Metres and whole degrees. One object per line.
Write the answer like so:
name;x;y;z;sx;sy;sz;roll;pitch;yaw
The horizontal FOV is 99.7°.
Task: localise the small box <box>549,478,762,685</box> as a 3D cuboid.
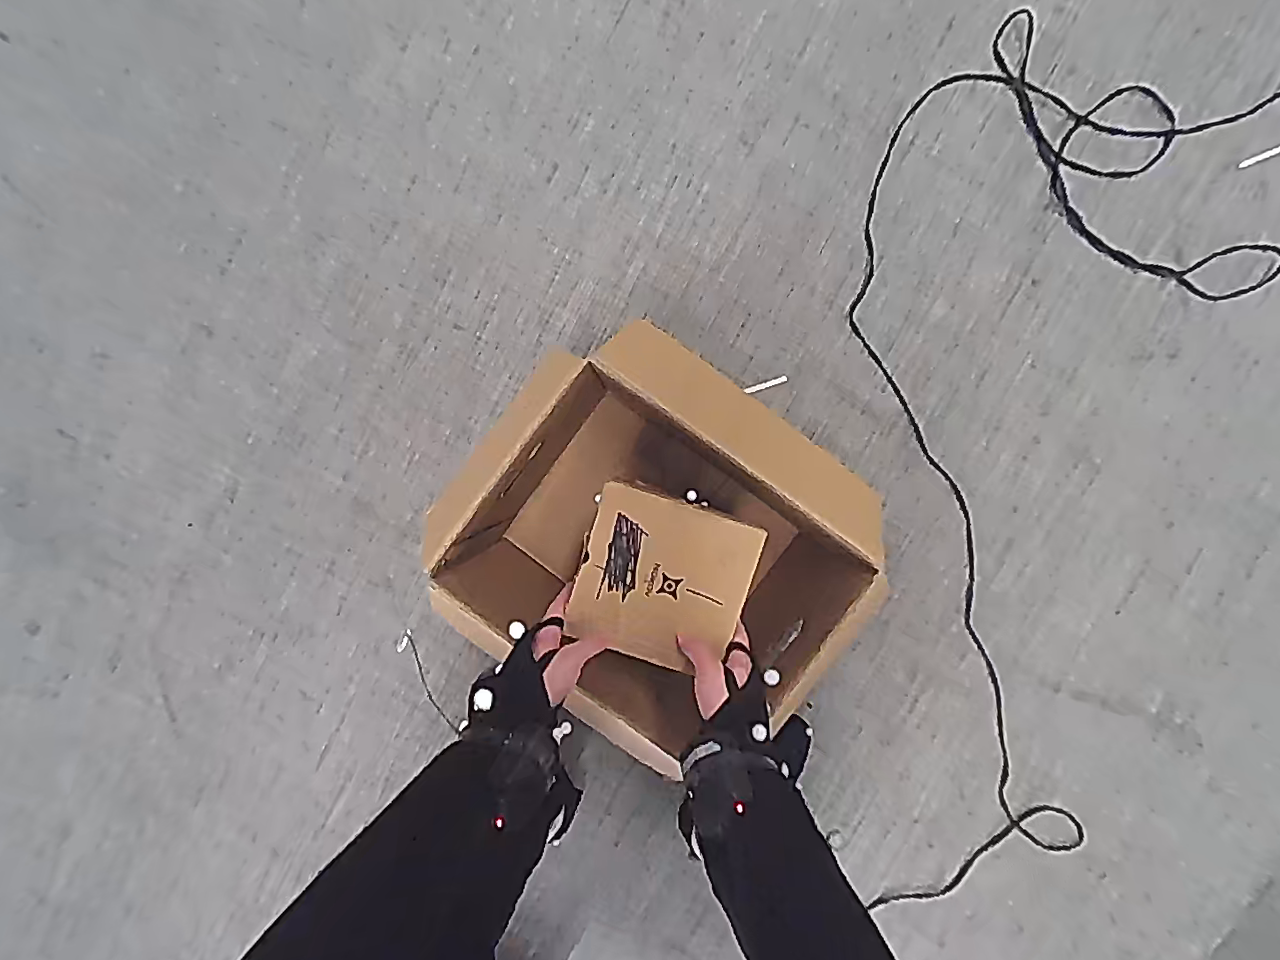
small box;0.017;0.103;0.629;0.179;0.176;0.168;21;93;1
